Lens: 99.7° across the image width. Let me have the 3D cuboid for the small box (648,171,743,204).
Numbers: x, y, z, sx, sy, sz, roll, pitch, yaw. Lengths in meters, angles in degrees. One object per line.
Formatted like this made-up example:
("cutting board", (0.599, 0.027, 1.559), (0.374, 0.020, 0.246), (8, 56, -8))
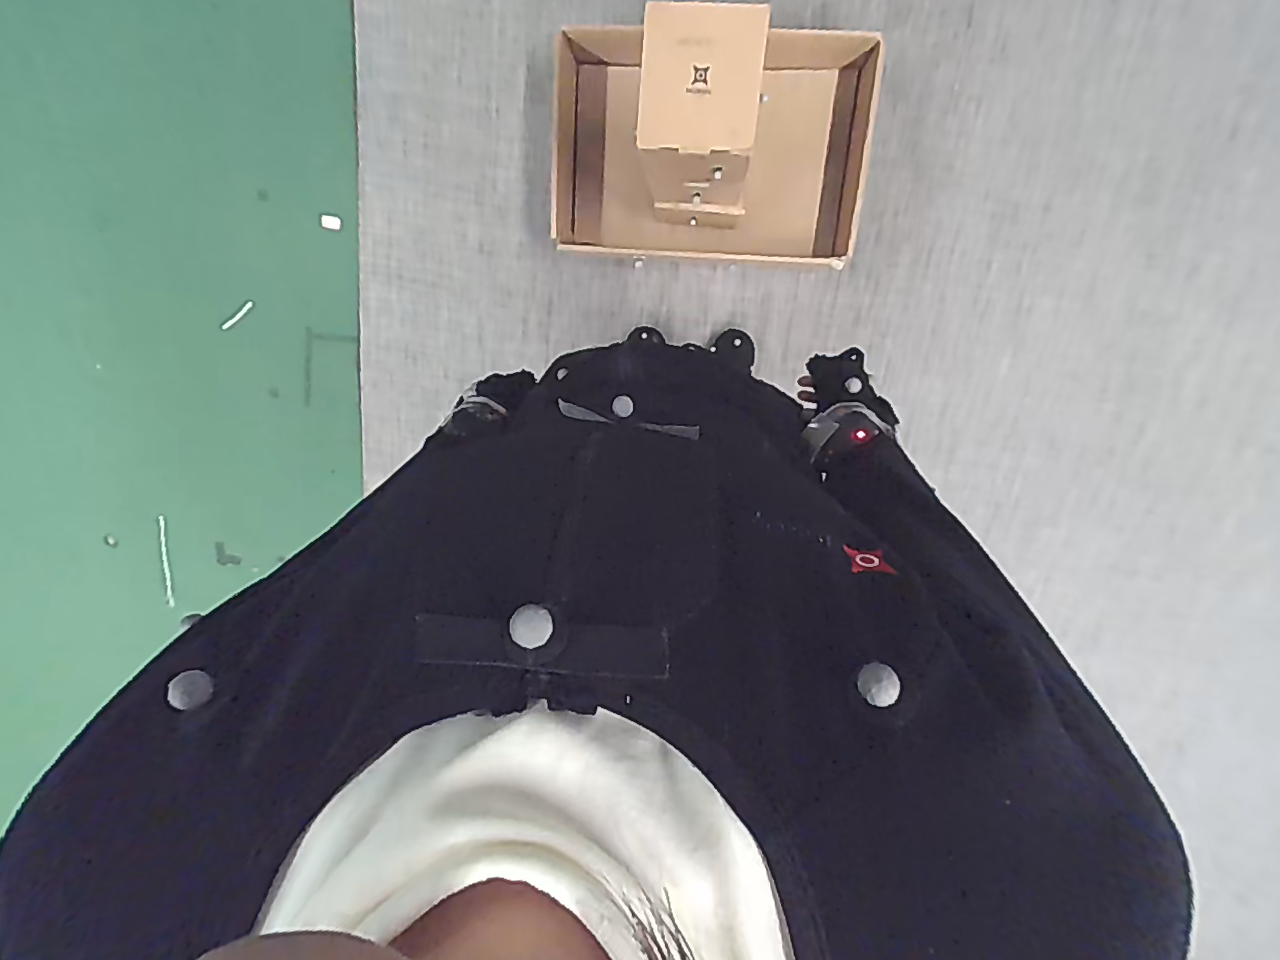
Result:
("small box", (0.110, -0.614, 0.987), (0.168, 0.176, 0.179), (4, 105, 7))

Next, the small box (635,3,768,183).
("small box", (0.089, -0.565, 0.813), (0.168, 0.176, 0.179), (6, 105, 4))

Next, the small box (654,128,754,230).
("small box", (0.134, -0.639, 1.144), (0.179, 0.176, 0.168), (9, 105, 5))
